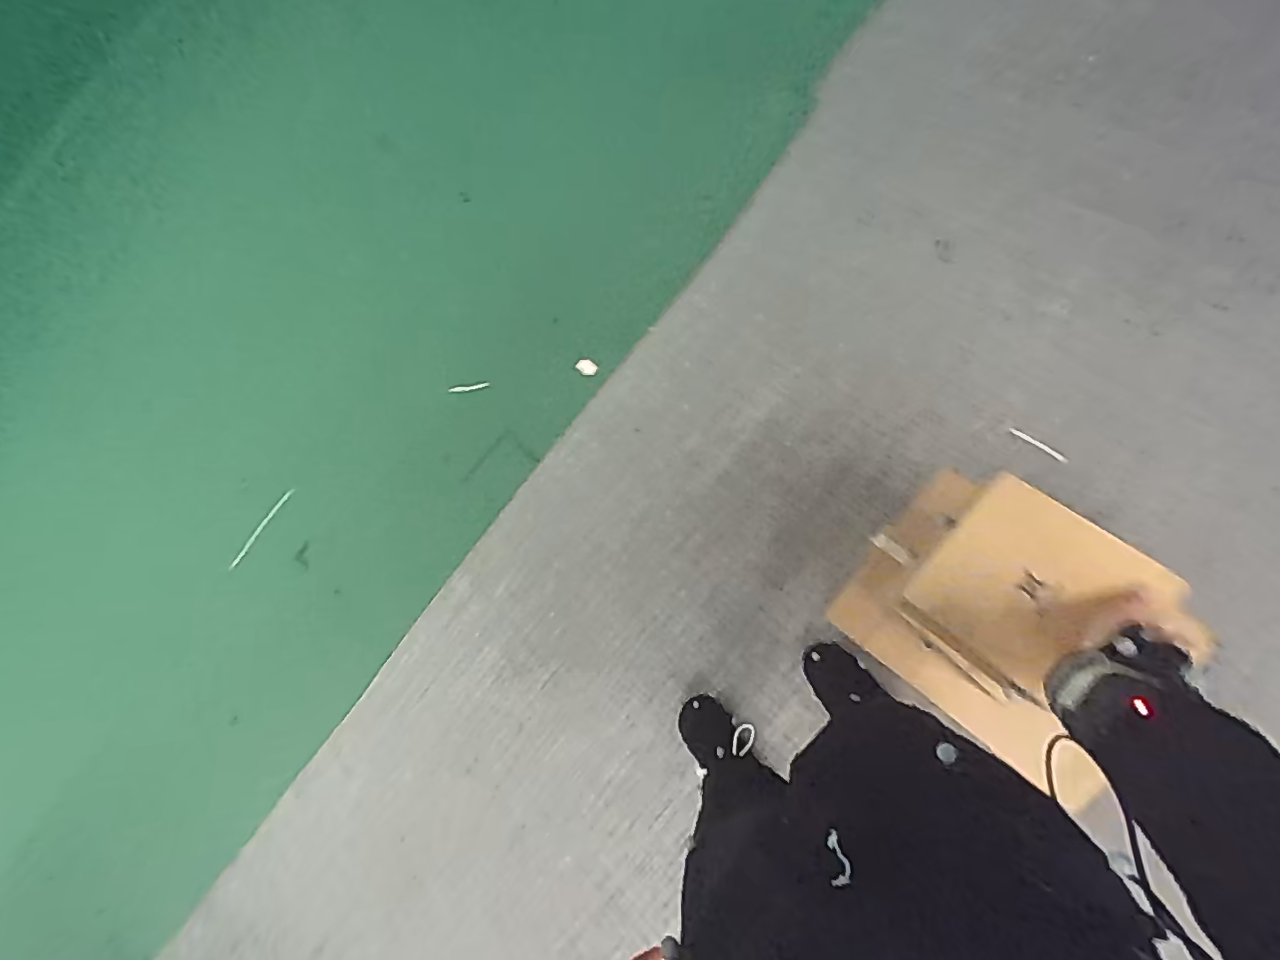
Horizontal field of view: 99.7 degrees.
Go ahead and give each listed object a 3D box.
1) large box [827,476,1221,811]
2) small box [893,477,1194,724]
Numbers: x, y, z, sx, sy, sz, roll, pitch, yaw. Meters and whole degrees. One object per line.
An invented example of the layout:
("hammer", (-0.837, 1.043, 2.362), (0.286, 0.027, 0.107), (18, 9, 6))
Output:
("large box", (0.589, 0.249, 0.938), (0.408, 0.320, 0.320), (39, 93, 20))
("small box", (0.406, 0.126, 0.588), (0.179, 0.176, 0.168), (40, 92, 21))
